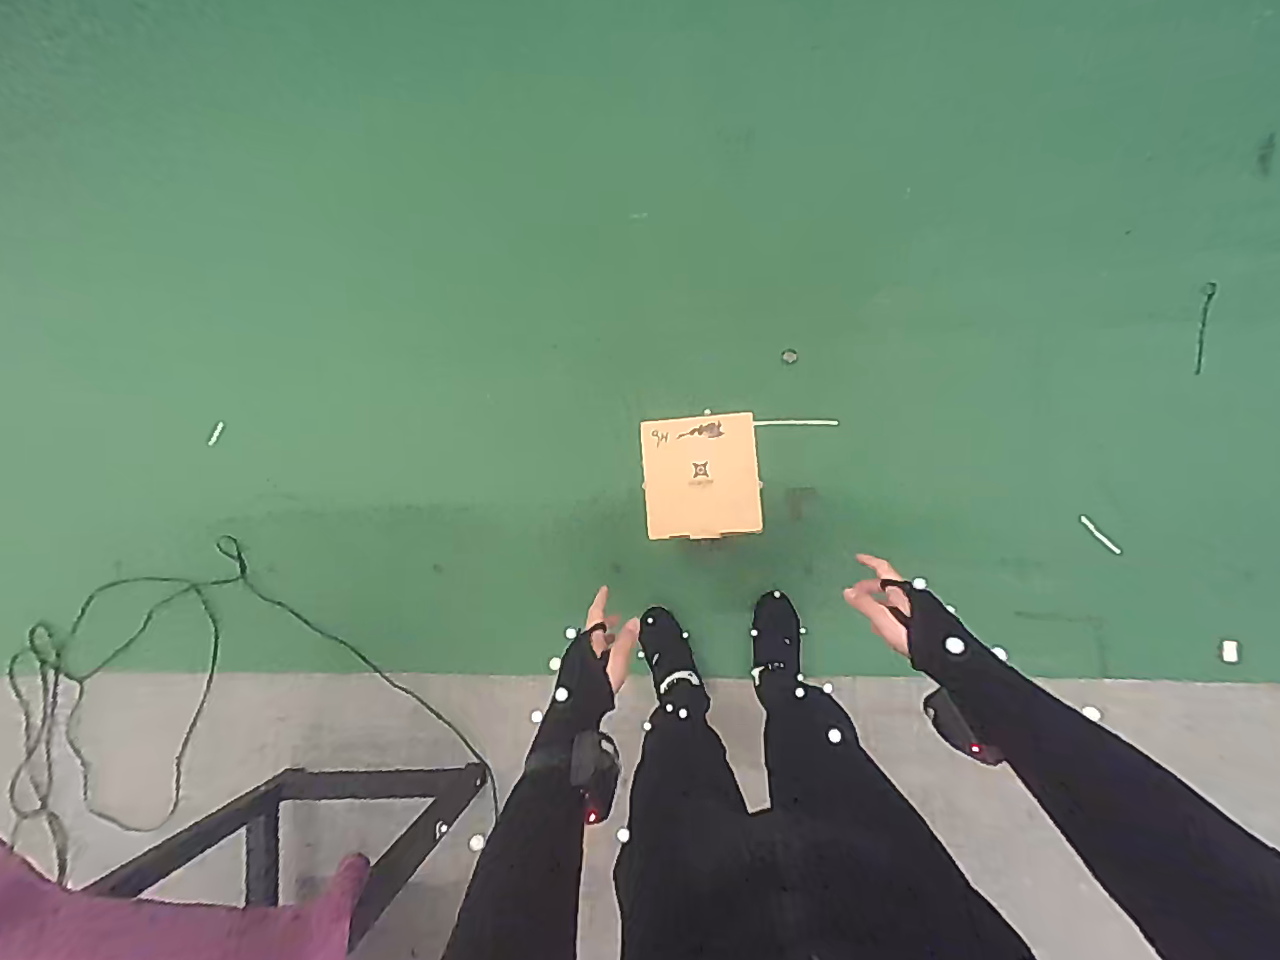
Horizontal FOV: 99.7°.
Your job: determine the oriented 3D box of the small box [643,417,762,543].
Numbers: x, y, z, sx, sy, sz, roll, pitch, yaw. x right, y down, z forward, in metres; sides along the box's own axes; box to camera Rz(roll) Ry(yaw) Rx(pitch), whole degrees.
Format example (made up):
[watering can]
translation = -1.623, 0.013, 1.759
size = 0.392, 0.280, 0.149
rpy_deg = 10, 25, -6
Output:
[small box]
translation = 0.100, 0.004, 0.858
size = 0.168, 0.176, 0.179
rpy_deg = -4, 85, 7
